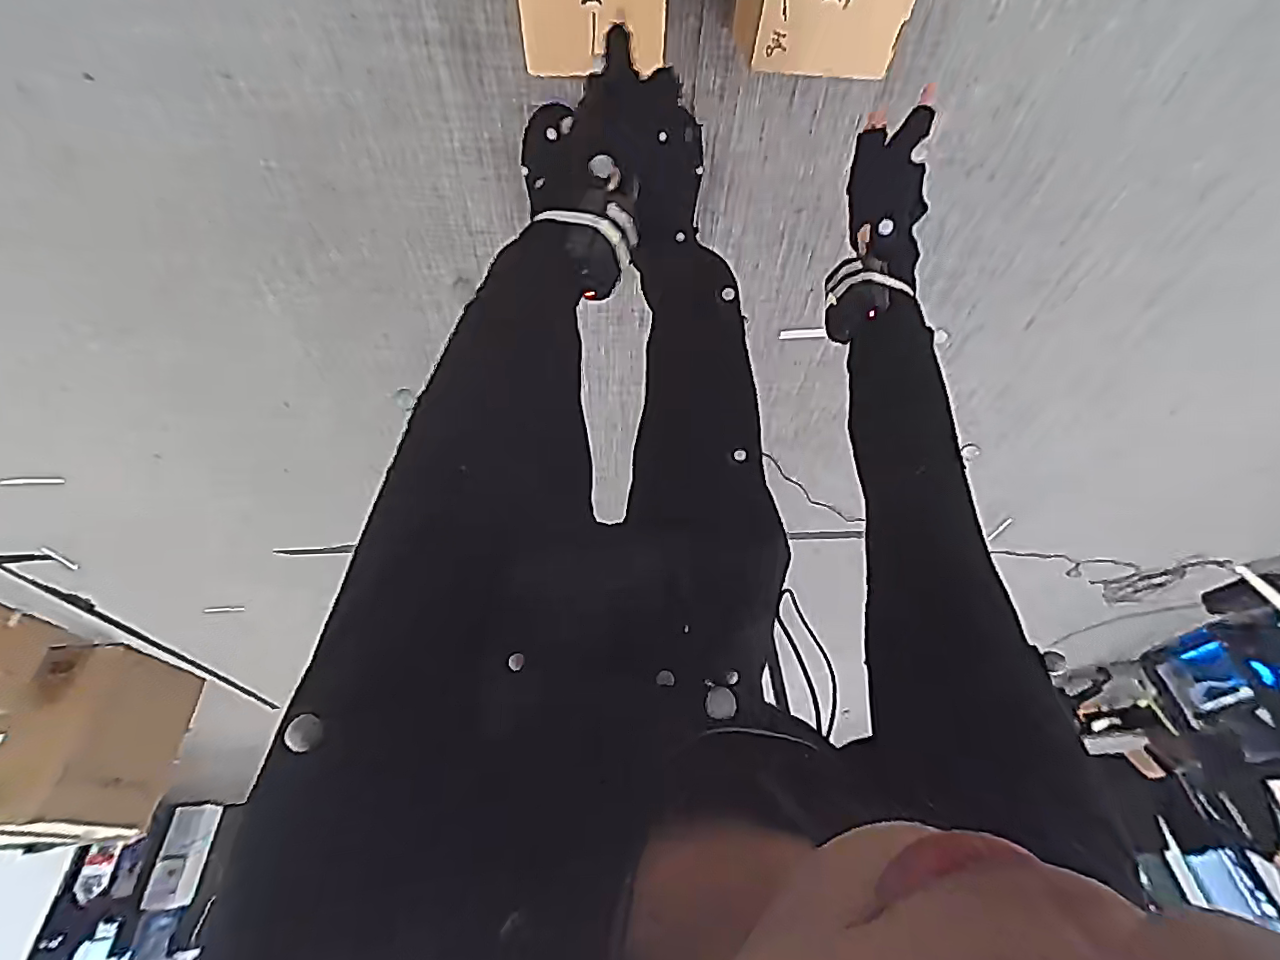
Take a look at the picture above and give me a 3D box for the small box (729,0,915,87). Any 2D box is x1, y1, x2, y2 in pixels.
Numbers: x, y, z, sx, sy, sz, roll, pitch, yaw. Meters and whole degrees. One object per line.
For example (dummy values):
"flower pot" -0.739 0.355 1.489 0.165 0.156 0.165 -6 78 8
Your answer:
"small box" 0.222 -0.610 0.658 0.179 0.176 0.168 -1 143 -7

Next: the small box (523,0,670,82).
"small box" -0.054 -0.602 0.637 0.168 0.176 0.179 -1 143 -3
